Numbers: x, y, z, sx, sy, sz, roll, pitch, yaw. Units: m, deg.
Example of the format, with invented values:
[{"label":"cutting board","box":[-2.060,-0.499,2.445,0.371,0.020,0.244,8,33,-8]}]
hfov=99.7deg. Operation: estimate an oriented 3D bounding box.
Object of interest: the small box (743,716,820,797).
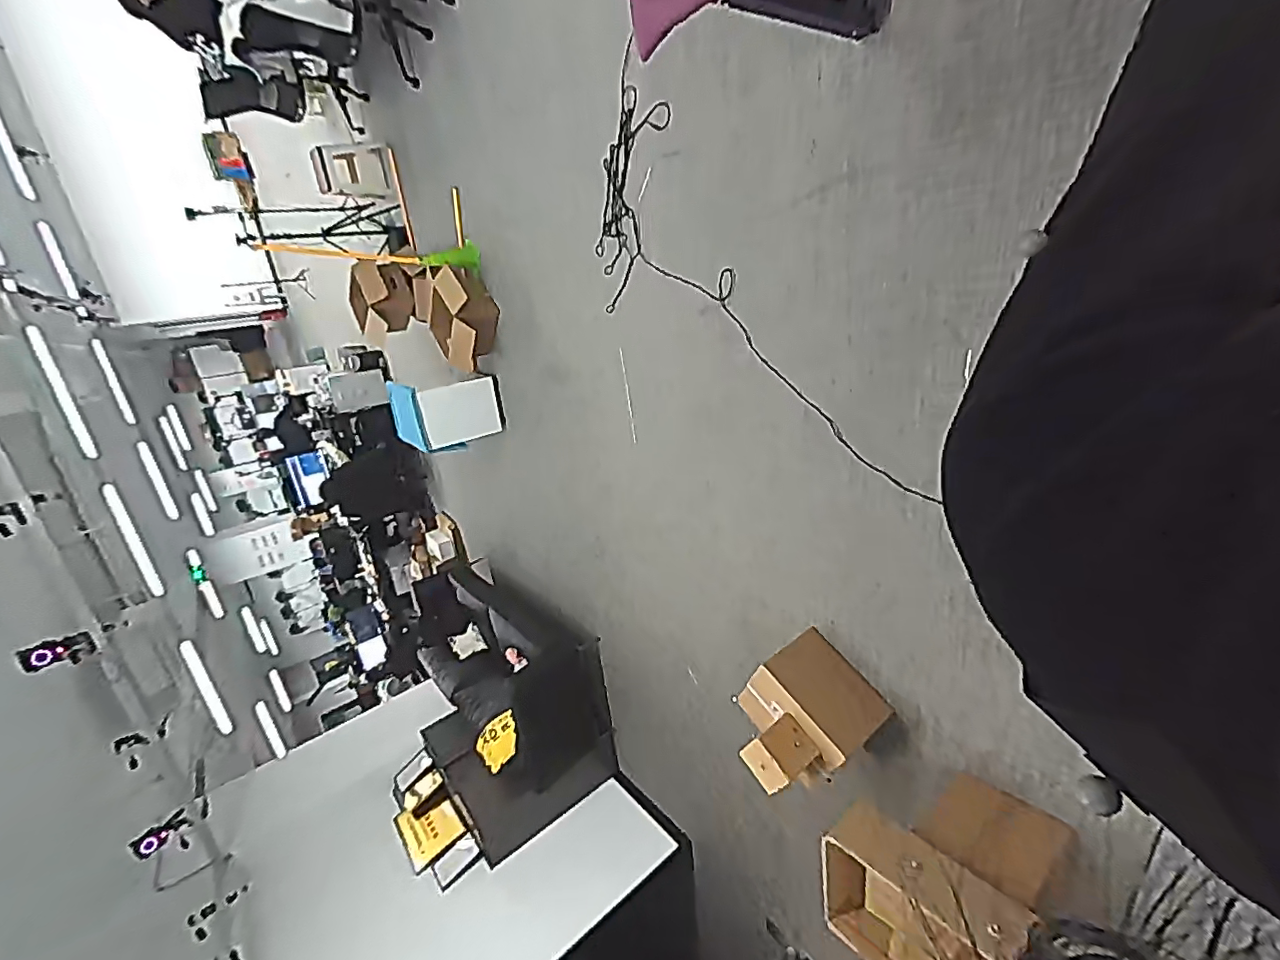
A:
[{"label":"small box","box":[0.500,0.971,1.903,0.168,0.176,0.179,50,143,27]}]

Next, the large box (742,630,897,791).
[{"label":"large box","box":[0.666,0.862,2.049,0.408,0.320,0.320,47,141,32]}]
